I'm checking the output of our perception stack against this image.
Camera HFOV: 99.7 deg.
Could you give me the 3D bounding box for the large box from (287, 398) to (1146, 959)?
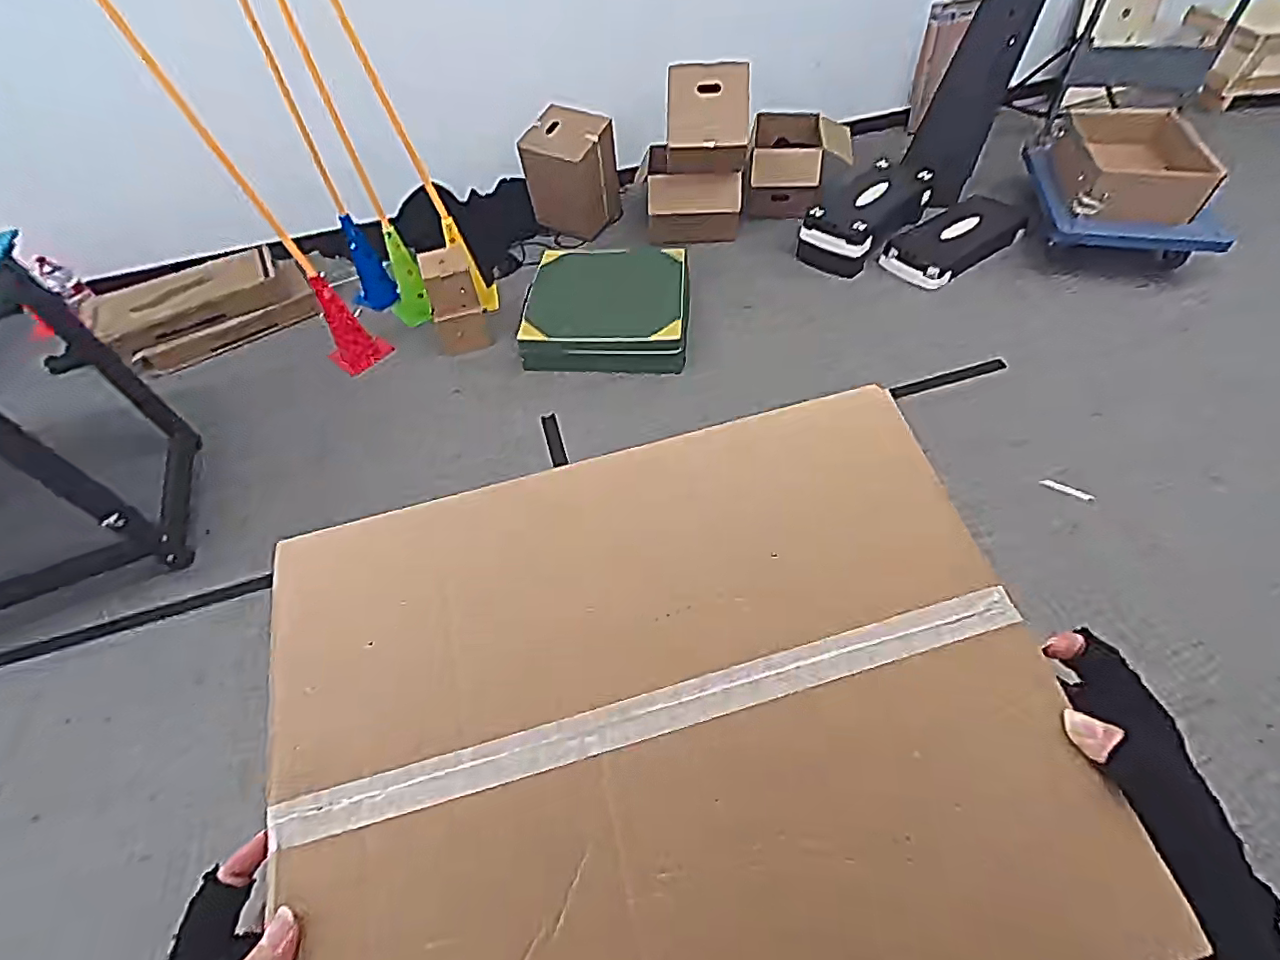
[{"bbox_3d":[0.017,0.188,0.433,0.408,0.320,0.320,-15,64,-4],"label":"large box"}]
